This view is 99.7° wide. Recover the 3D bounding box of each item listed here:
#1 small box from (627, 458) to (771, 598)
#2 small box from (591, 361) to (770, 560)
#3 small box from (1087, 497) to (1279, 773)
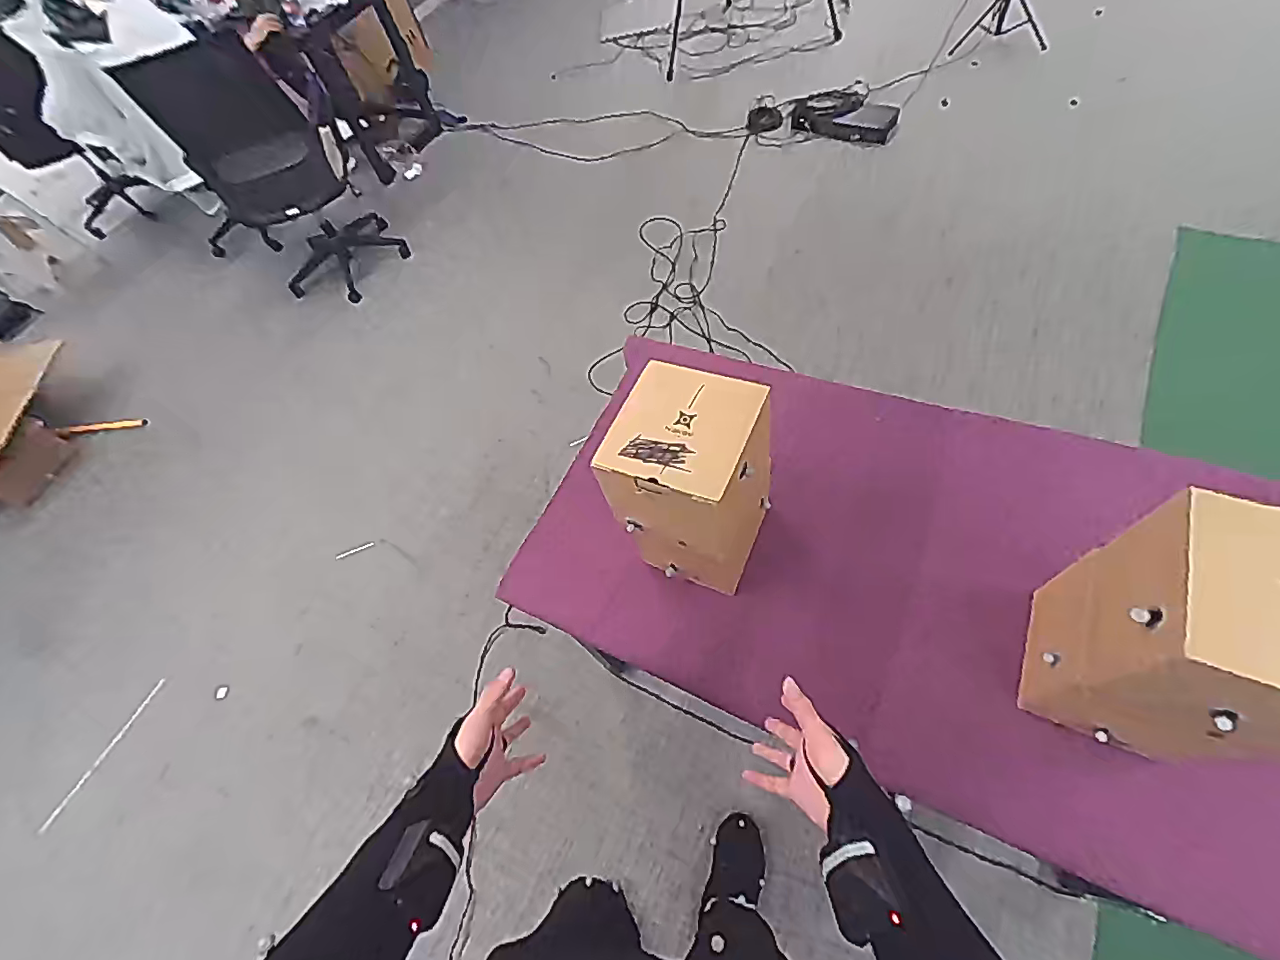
[{"bbox_3d":[0.094,0.056,0.845,0.168,0.176,0.179,18,65,21],"label":"small box"},{"bbox_3d":[0.063,-0.021,0.704,0.168,0.176,0.179,19,63,21],"label":"small box"},{"bbox_3d":[0.562,0.150,0.507,0.168,0.176,0.179,20,64,21],"label":"small box"}]
